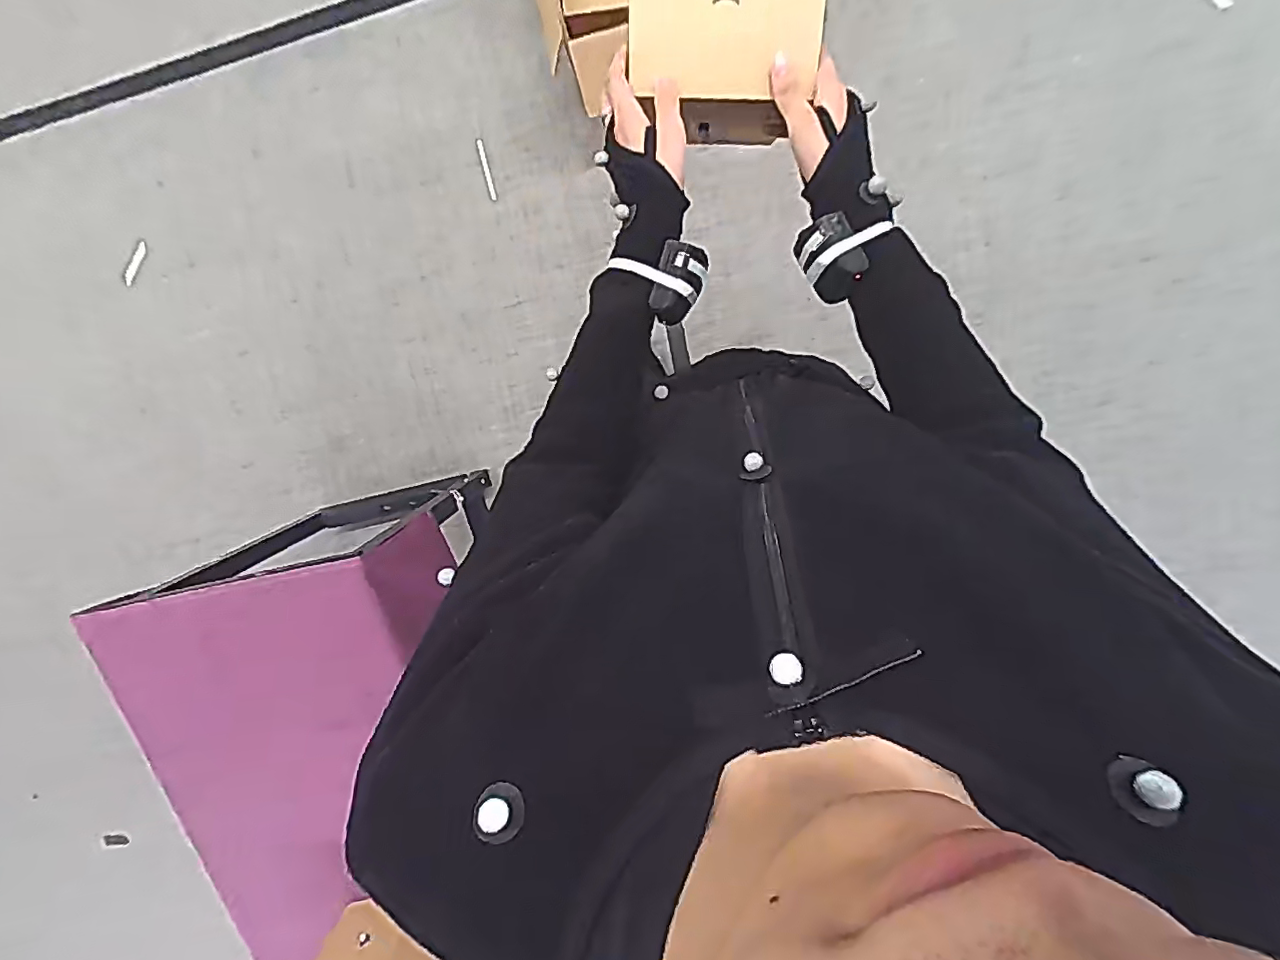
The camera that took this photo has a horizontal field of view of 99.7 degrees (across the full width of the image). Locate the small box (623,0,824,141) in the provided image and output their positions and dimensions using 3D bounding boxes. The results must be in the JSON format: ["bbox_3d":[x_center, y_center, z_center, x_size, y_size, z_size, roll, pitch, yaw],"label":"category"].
[{"bbox_3d":[0.071,-0.438,0.510,0.168,0.176,0.179,1,110,-1],"label":"small box"}]

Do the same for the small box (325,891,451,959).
[{"bbox_3d":[-0.518,0.988,1.098,0.179,0.176,0.168,-17,103,7],"label":"small box"}]
